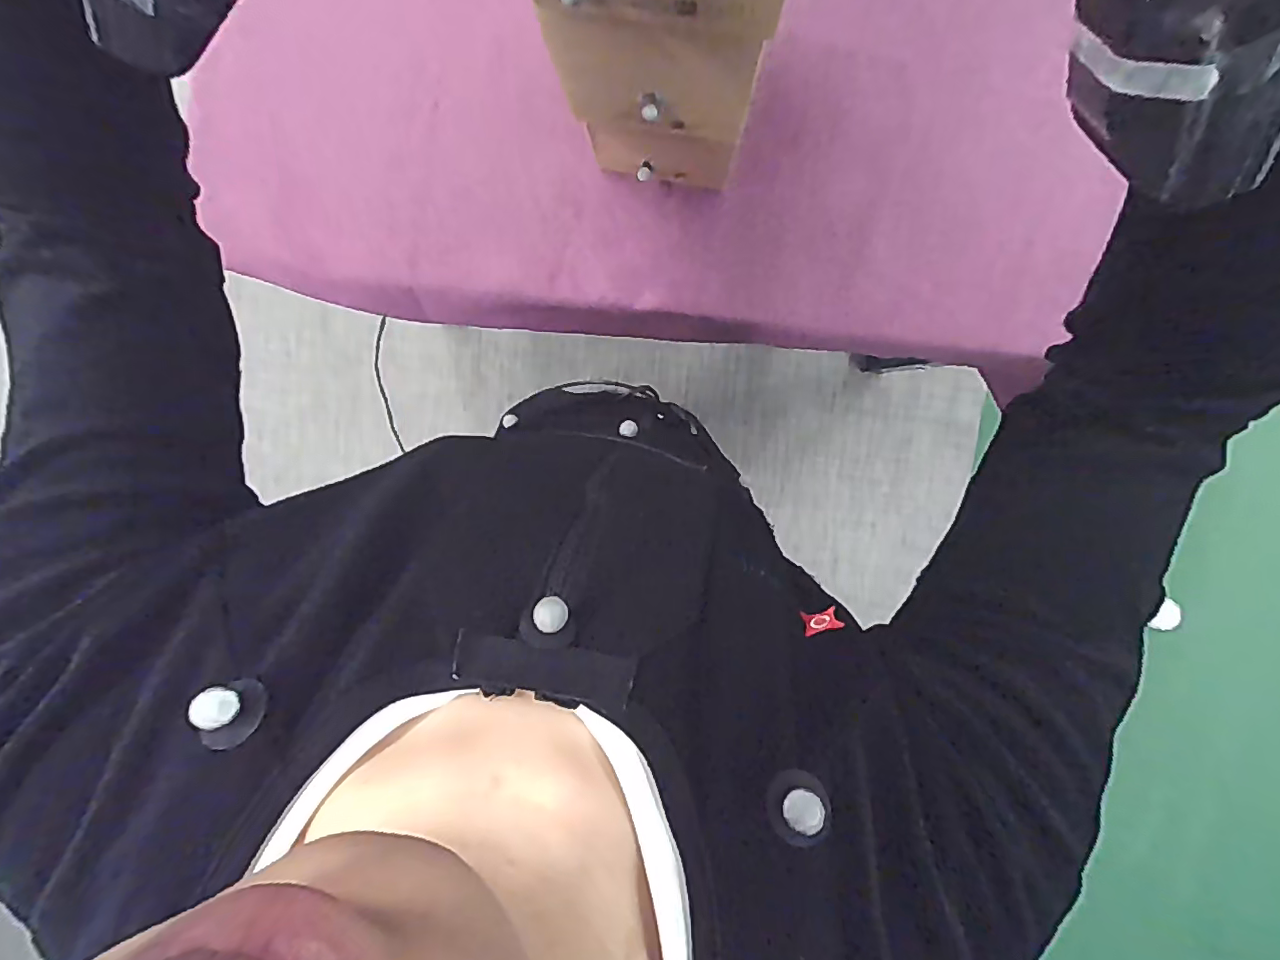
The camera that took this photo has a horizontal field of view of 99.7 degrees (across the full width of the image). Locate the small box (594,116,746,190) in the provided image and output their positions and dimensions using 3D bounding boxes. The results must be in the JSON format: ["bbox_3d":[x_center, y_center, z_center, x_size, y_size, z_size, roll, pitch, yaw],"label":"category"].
[{"bbox_3d":[0.040,-0.453,0.593,0.168,0.176,0.179,10,99,1],"label":"small box"}]

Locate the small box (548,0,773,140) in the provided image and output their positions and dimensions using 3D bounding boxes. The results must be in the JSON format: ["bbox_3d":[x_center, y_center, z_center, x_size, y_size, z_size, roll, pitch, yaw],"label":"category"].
[{"bbox_3d":[0.026,-0.415,0.434,0.168,0.176,0.179,9,98,2],"label":"small box"}]

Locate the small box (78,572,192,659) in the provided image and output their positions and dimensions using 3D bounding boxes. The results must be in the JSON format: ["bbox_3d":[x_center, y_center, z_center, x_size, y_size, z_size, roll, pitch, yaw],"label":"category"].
[{"bbox_3d":[-1.387,0.370,1.498,0.168,0.176,0.179,5,98,1],"label":"small box"}]
